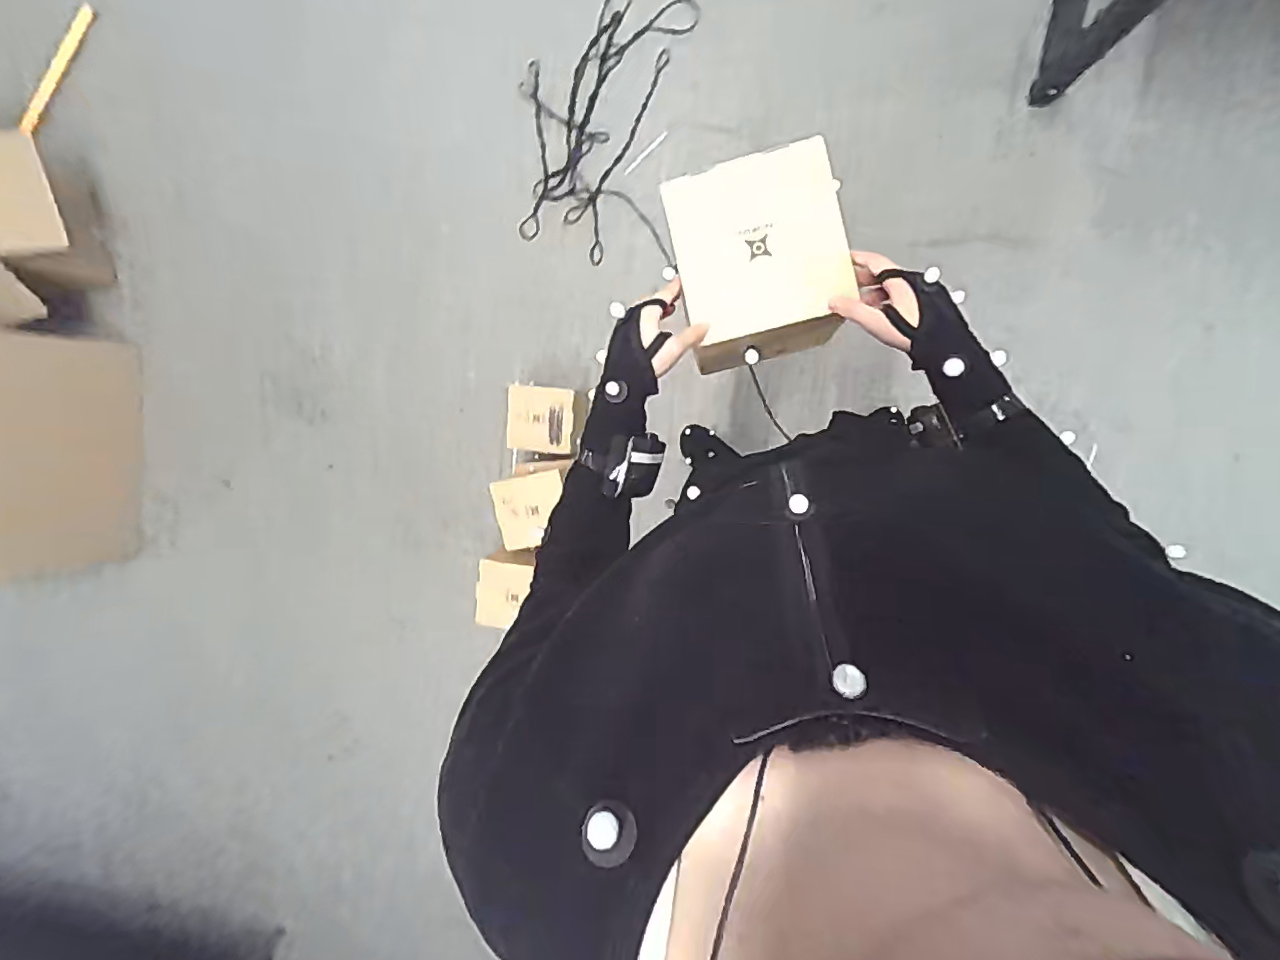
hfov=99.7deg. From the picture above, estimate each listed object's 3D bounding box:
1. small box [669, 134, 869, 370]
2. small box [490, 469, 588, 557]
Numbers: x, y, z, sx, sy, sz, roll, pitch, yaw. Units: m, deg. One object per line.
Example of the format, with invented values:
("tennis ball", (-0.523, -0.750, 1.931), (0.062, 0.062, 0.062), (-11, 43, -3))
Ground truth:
("small box", (0.137, -0.231, 0.605), (0.168, 0.176, 0.179), (-12, 88, 9))
("small box", (-0.235, 0.074, 1.313), (0.179, 0.176, 0.168), (-11, 96, 10))
